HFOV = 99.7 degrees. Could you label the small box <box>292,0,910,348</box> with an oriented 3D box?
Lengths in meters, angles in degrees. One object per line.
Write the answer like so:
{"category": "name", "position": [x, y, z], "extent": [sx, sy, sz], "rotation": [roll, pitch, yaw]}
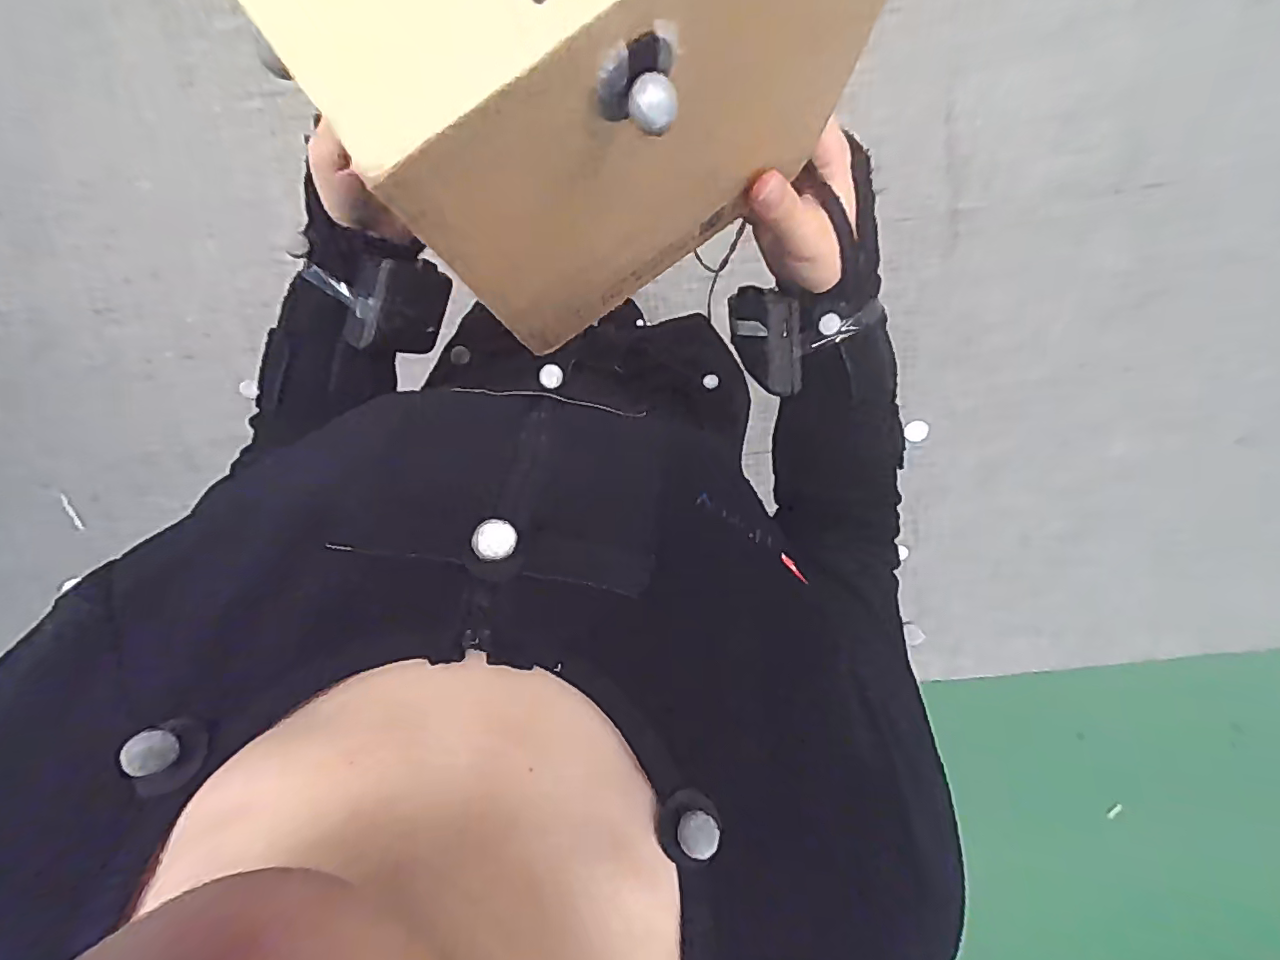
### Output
{"category": "small box", "position": [-0.027, -0.178, 0.202], "extent": [0.168, 0.176, 0.179], "rotation": [-36, 89, 2]}
